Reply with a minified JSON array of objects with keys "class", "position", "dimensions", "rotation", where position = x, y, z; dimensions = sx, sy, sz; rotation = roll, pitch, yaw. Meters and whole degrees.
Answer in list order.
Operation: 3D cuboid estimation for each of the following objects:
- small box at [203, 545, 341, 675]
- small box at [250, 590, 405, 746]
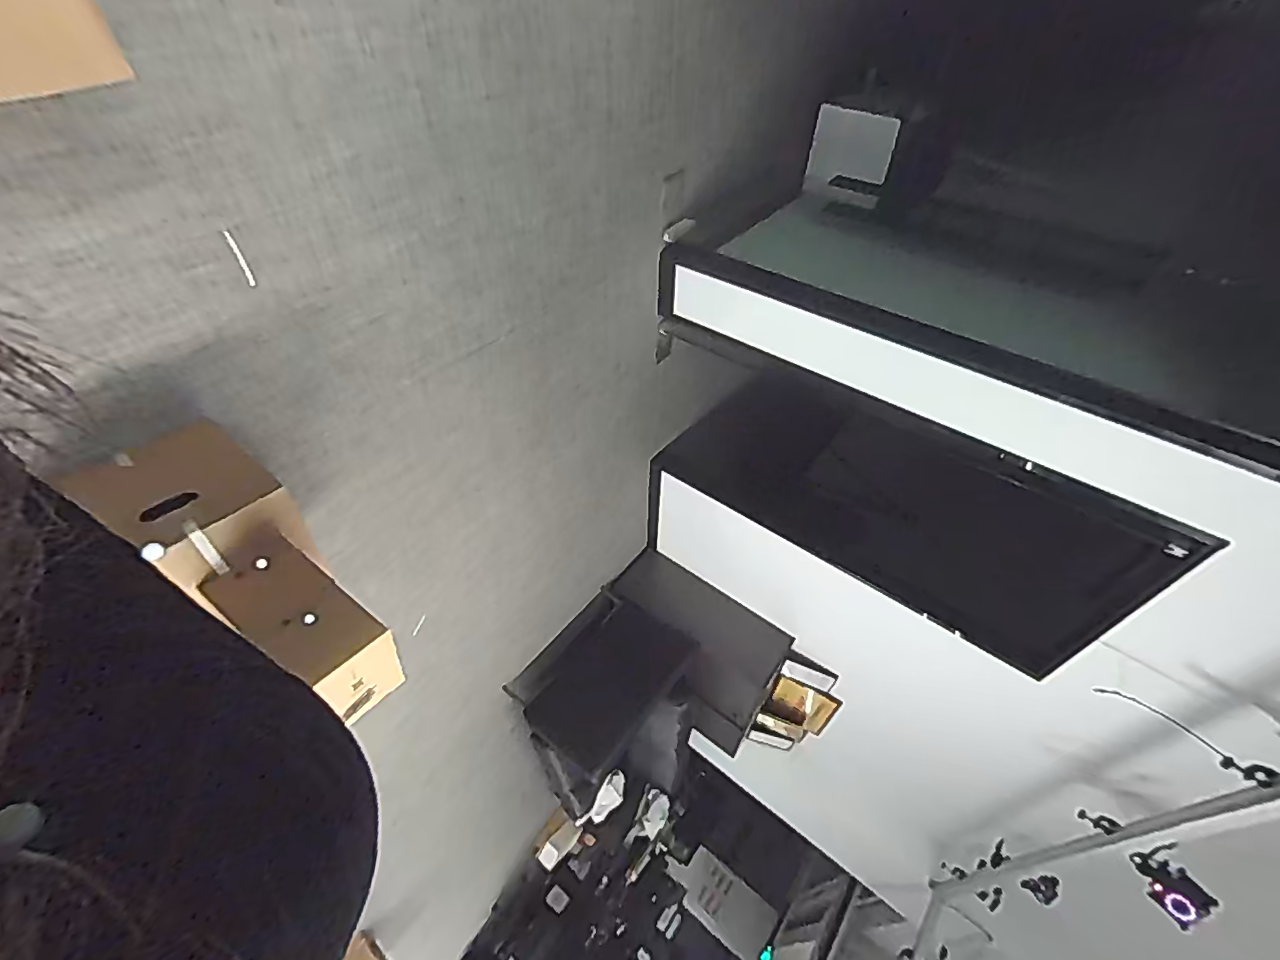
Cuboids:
[{"class":"small box","position":[-0.698,0.261,1.057],"dimensions":[0.168,0.176,0.179],"rotation":[-41,149,-42]},{"class":"small box","position":[-0.567,0.337,0.993],"dimensions":[0.168,0.176,0.179],"rotation":[-40,148,-43]}]
